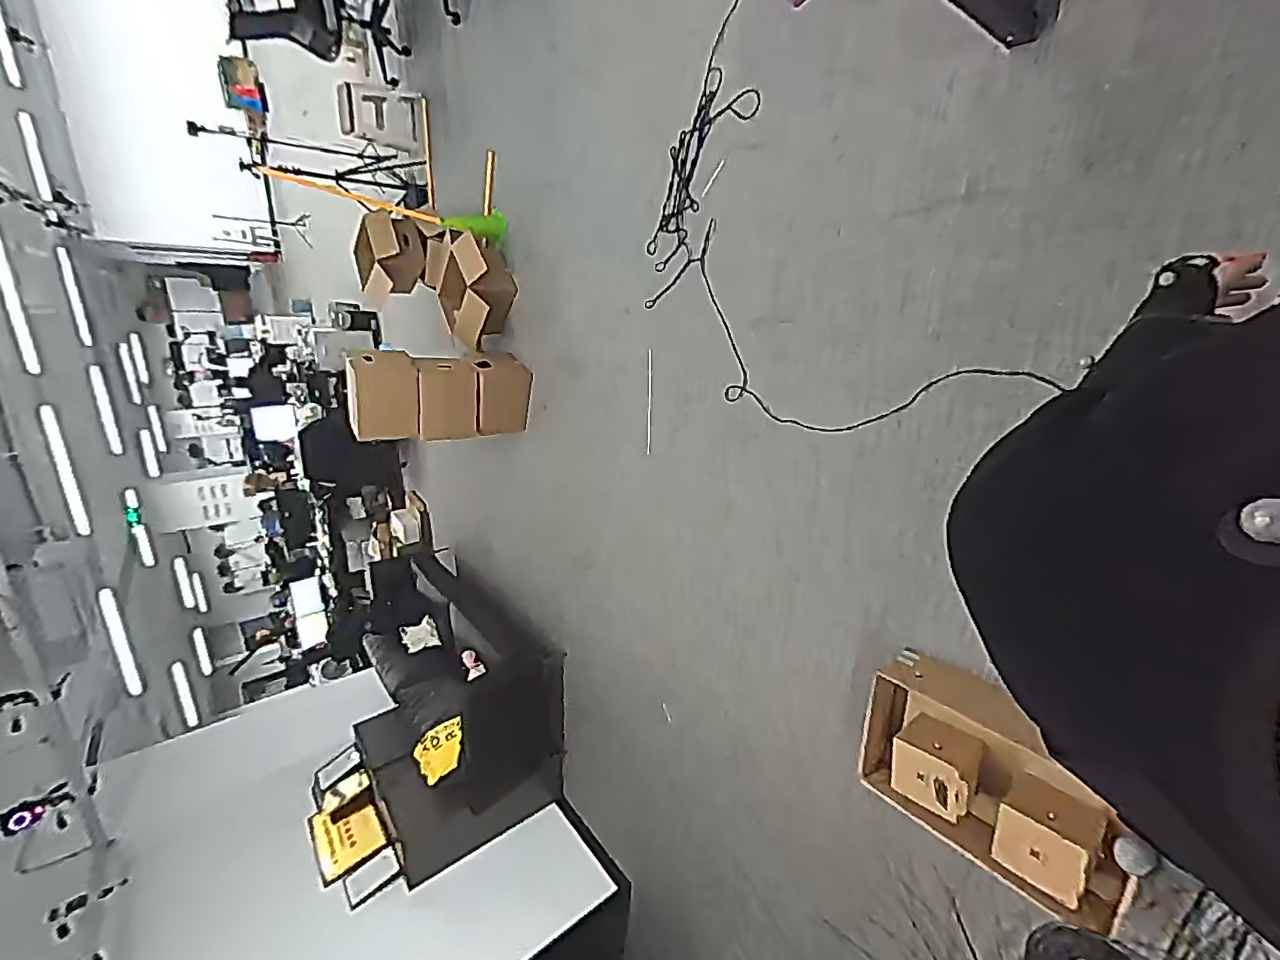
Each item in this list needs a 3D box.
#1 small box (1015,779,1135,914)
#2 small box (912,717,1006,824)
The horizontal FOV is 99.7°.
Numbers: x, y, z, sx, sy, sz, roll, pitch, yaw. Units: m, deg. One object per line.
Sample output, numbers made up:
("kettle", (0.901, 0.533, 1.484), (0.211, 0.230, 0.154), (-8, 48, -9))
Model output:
("small box", (1.040, 0.859, 1.291), (0.179, 0.176, 0.168), (17, 112, 52))
("small box", (0.881, 0.789, 1.492), (0.179, 0.176, 0.168), (11, 108, 52))
